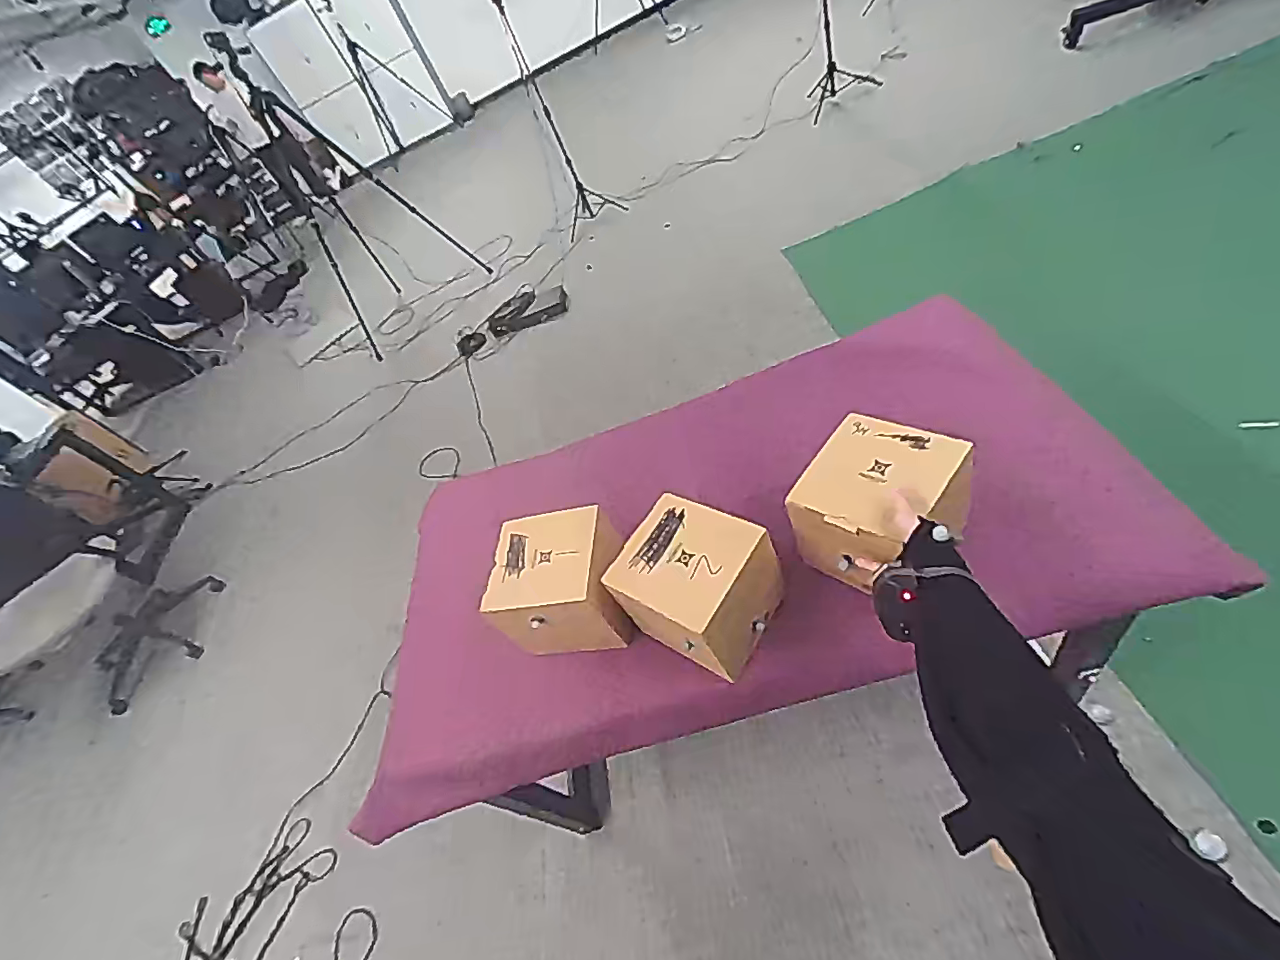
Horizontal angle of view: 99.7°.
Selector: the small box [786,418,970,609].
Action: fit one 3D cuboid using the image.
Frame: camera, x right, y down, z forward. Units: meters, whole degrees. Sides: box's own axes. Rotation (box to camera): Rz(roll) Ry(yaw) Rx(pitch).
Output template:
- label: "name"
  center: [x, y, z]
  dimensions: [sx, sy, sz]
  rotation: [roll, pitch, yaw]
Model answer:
- label: "small box"
  center: [0.332, 0.048, 0.751]
  dimensions: [0.168, 0.176, 0.179]
  rotation: [25, 67, 40]
